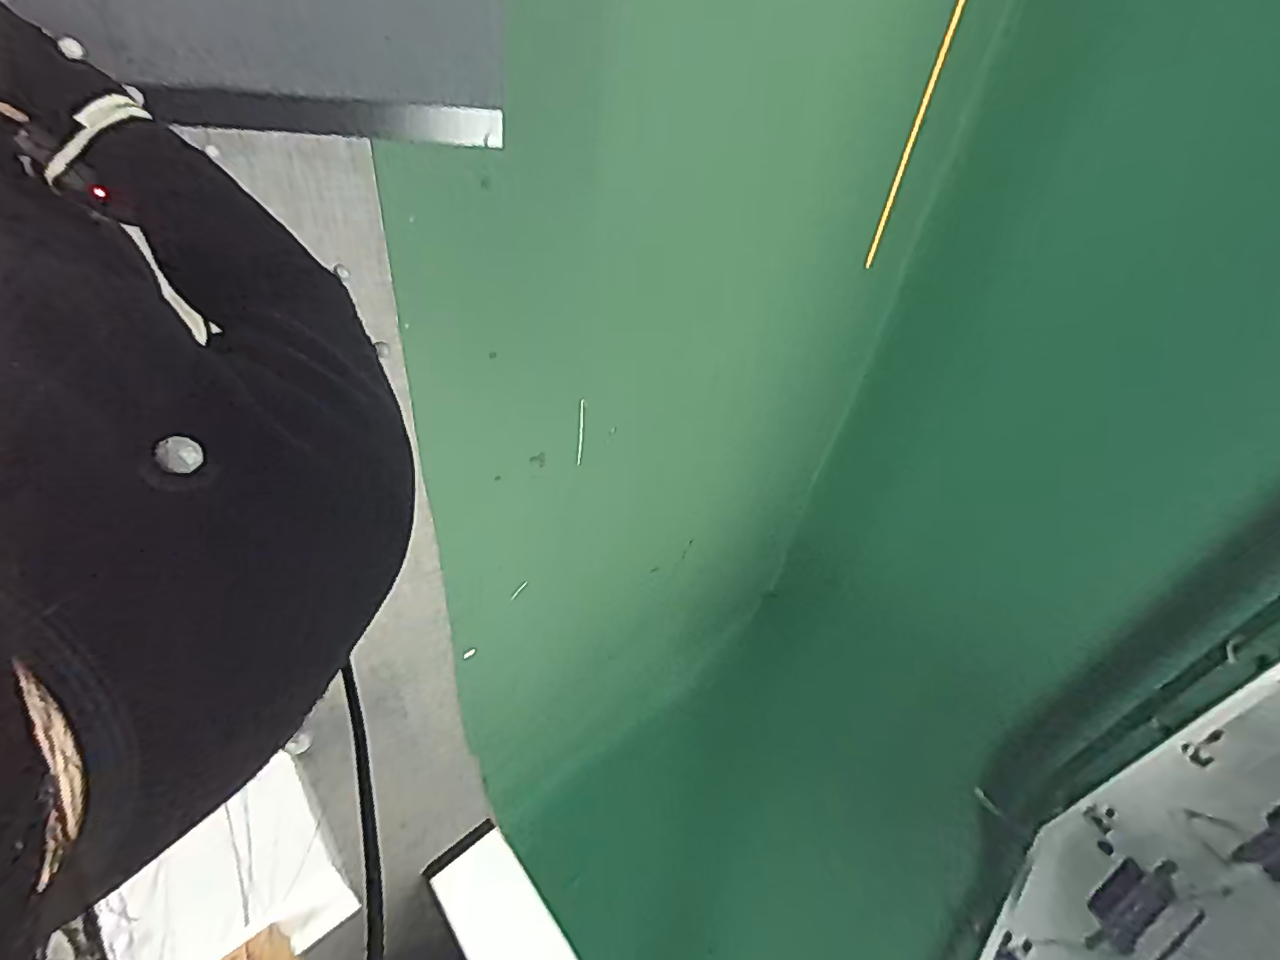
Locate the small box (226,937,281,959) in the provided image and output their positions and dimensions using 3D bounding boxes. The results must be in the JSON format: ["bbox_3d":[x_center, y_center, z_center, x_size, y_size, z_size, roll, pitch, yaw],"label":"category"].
[{"bbox_3d":[-1.066,1.393,1.458,0.168,0.176,0.179,-25,139,-36],"label":"small box"}]
